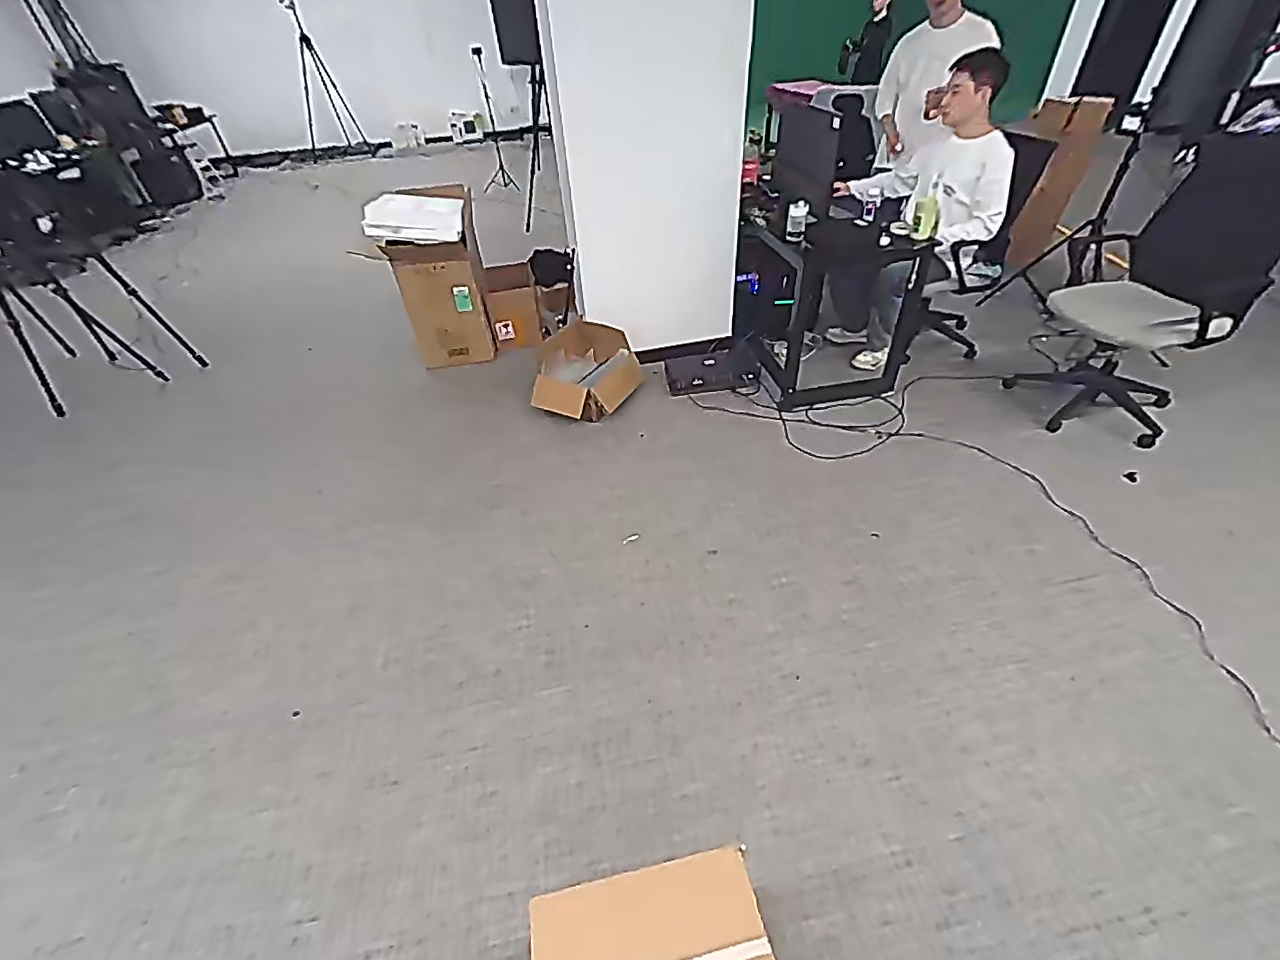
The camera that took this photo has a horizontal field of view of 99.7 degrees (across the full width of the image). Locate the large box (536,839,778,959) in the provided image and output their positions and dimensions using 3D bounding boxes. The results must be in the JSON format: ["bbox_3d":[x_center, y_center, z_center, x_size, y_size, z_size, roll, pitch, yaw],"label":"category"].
[{"bbox_3d":[0.040,0.940,1.001,0.408,0.320,0.320,-10,41,-8],"label":"large box"}]
